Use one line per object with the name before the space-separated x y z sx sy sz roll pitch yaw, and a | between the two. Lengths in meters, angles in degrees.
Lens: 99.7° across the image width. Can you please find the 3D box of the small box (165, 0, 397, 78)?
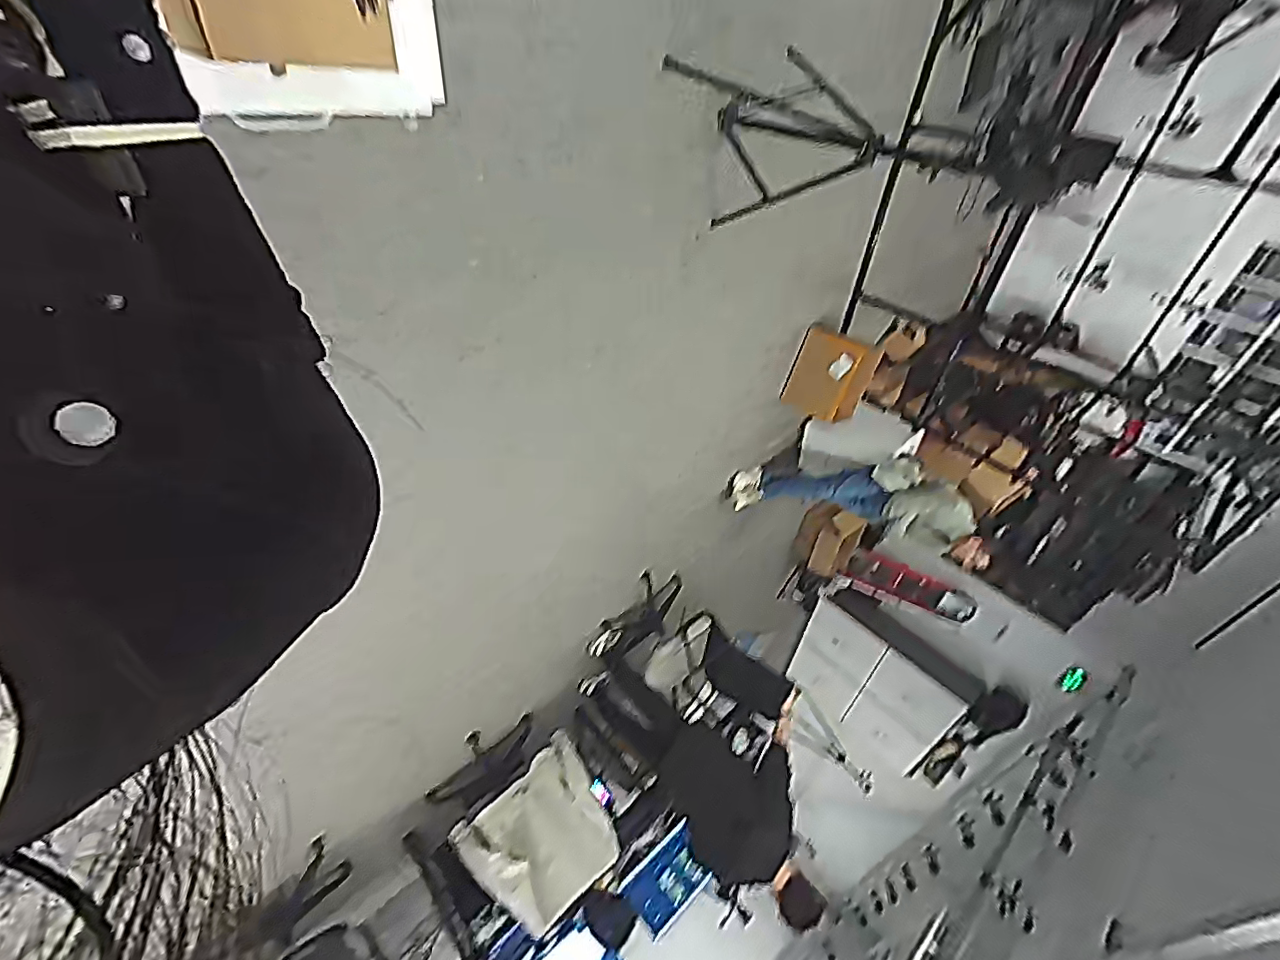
small box | -0.373 -0.512 0.538 0.179 0.176 0.168 -25 137 -34
